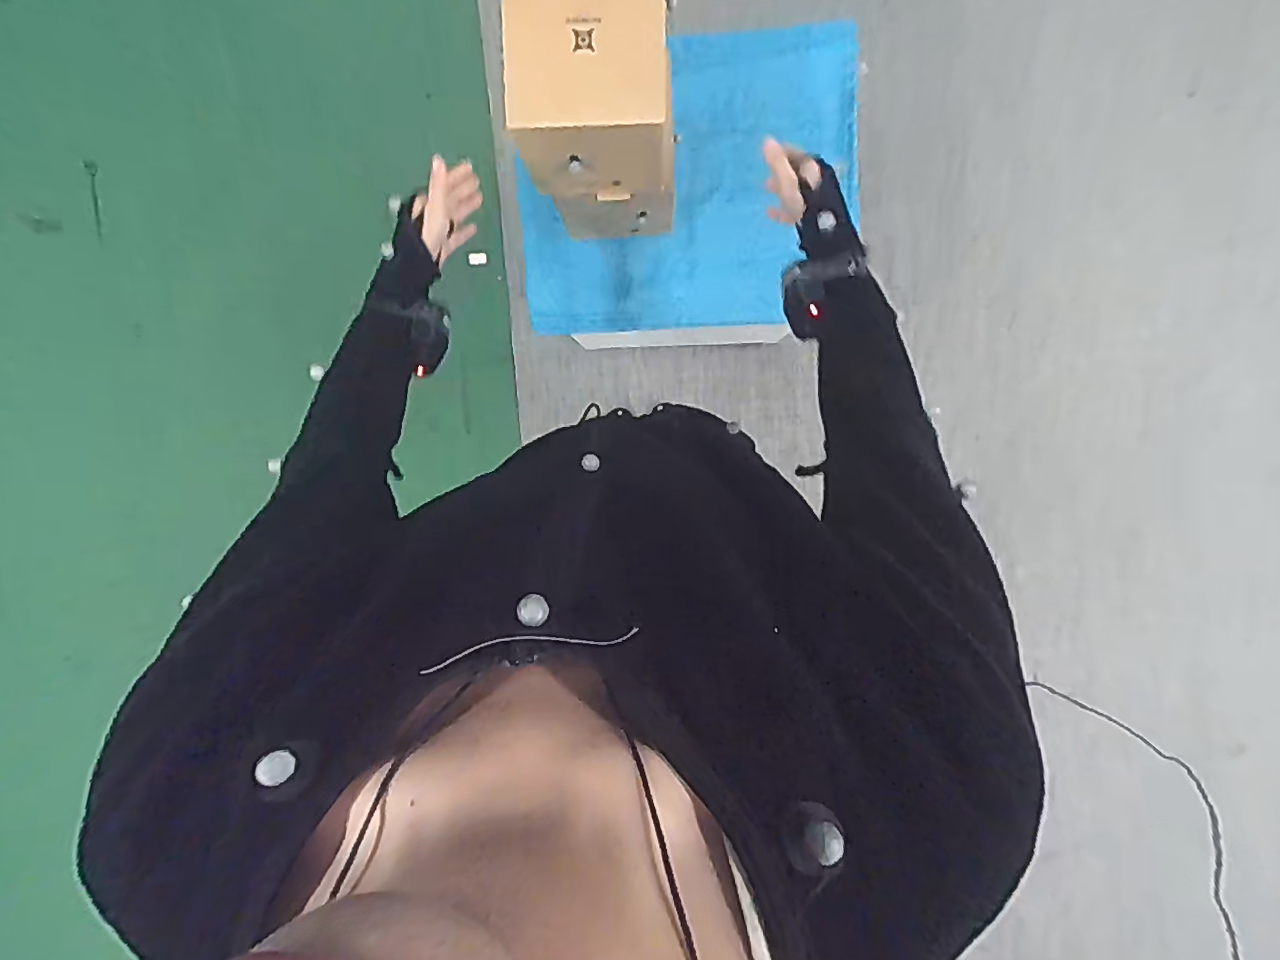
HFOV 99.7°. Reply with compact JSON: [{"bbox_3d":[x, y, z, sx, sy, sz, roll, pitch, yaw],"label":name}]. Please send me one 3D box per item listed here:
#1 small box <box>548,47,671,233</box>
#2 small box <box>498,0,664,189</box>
[{"bbox_3d":[-0.039,-0.468,0.774,0.168,0.176,0.179,-2,95,1],"label":"small box"},{"bbox_3d":[-0.057,-0.450,0.613,0.168,0.176,0.179,-1,95,1],"label":"small box"}]
